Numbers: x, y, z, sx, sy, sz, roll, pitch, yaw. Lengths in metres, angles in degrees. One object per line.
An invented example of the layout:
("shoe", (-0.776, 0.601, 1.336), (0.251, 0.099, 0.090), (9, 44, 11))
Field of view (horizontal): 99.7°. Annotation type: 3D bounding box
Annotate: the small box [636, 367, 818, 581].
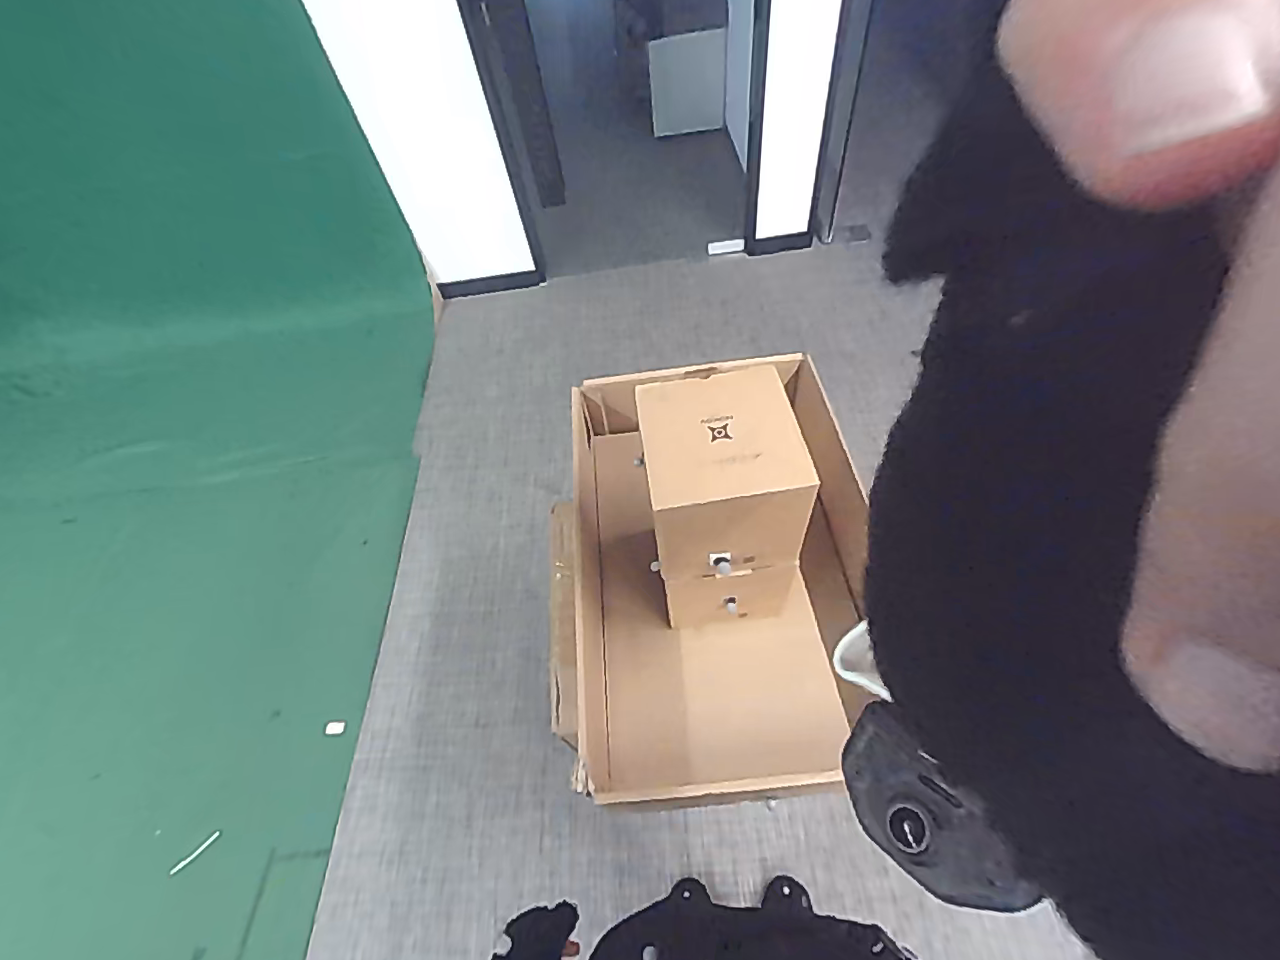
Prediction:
("small box", (0.090, -0.004, 0.637), (0.168, 0.176, 0.179), (-9, 54, 1))
